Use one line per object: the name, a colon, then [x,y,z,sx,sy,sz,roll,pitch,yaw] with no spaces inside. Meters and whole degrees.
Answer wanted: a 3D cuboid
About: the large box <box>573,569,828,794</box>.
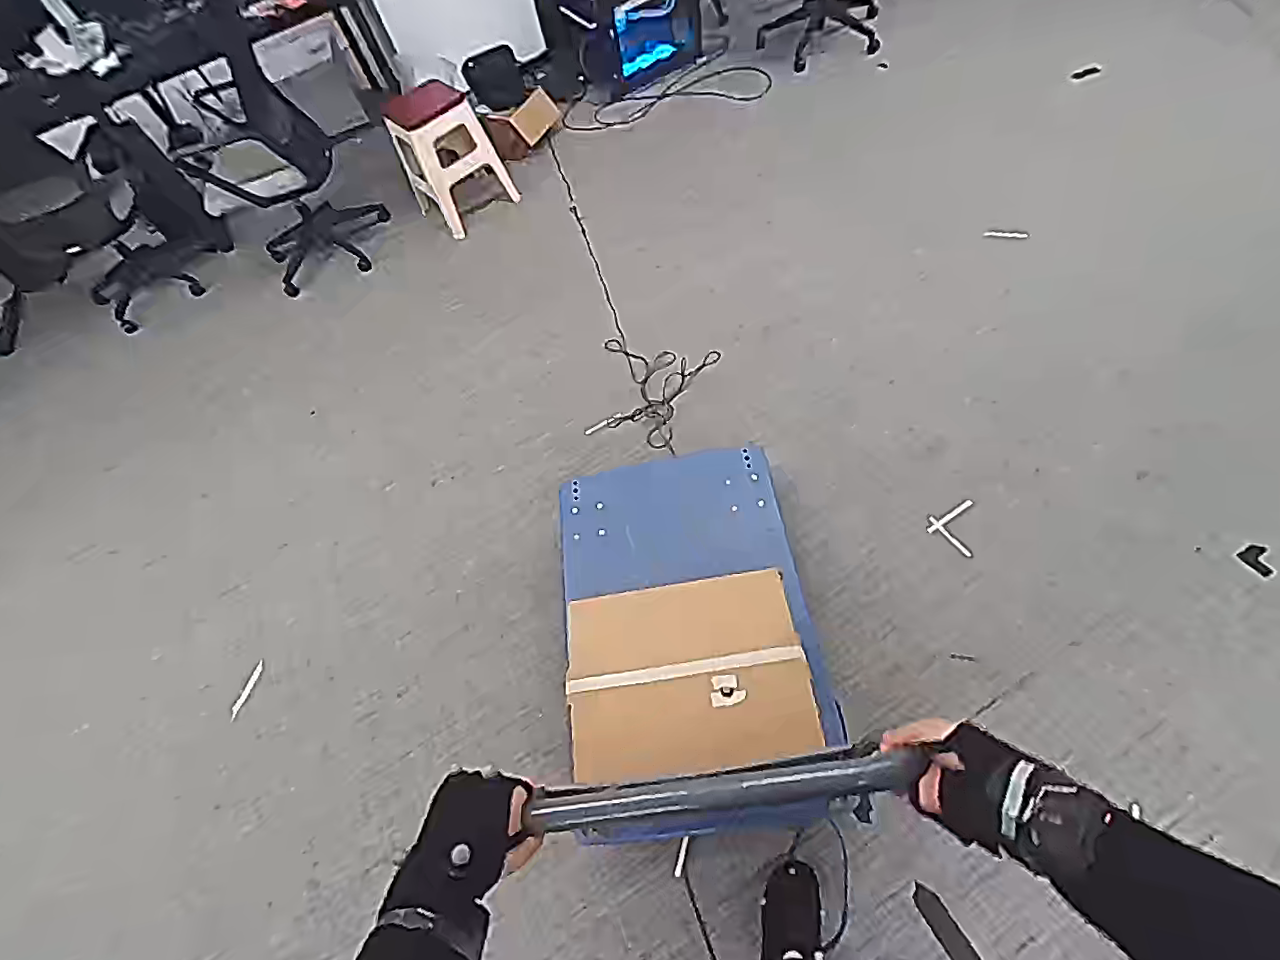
large box: [0.106,0.408,1.063,0.408,0.320,0.320,-11,58,4]
